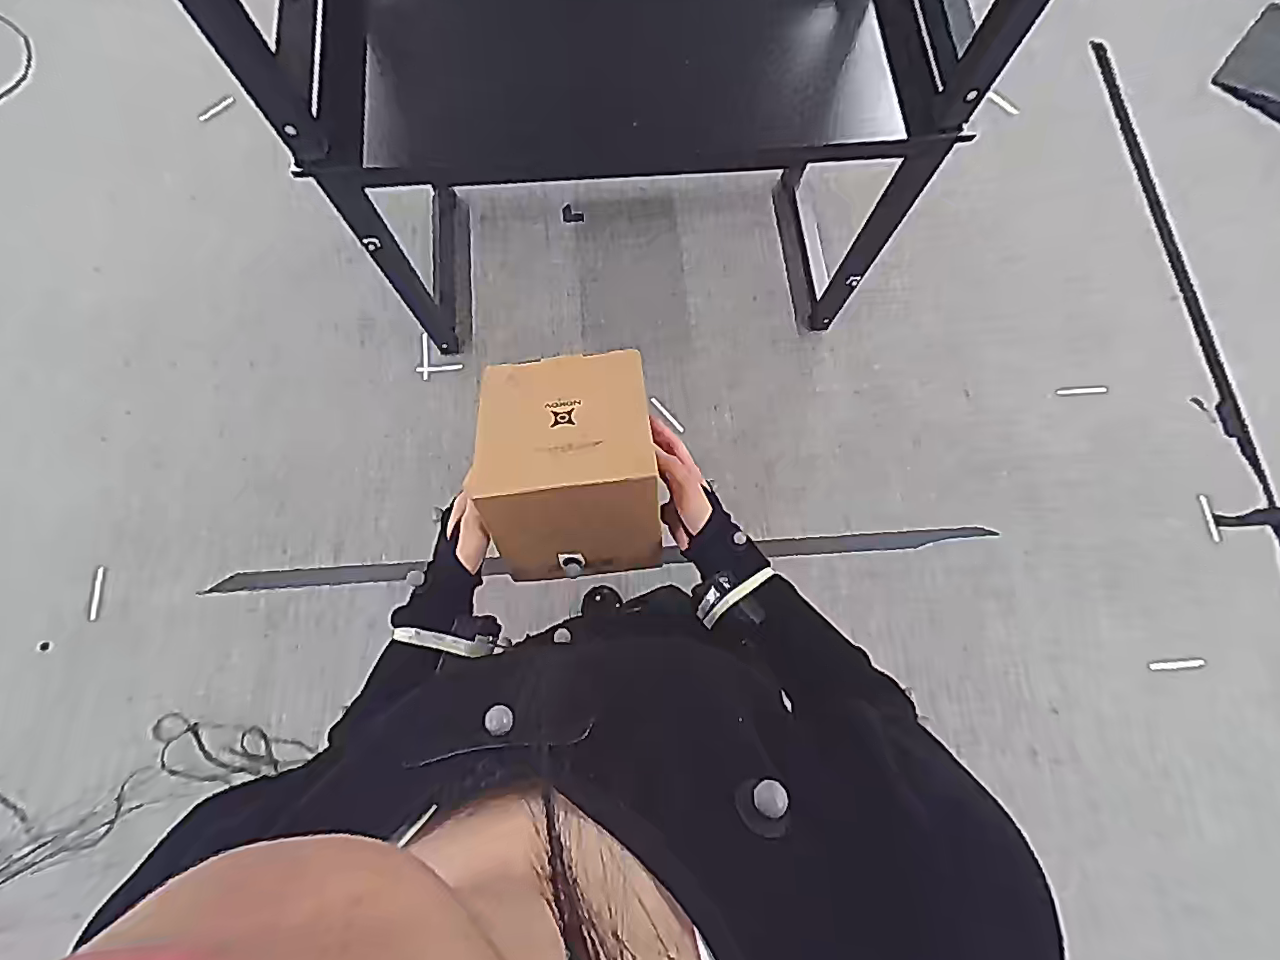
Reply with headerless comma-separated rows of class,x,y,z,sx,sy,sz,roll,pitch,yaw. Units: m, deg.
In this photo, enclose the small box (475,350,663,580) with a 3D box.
small box,-0.067,-0.014,0.586,0.168,0.176,0.179,-7,53,-1
